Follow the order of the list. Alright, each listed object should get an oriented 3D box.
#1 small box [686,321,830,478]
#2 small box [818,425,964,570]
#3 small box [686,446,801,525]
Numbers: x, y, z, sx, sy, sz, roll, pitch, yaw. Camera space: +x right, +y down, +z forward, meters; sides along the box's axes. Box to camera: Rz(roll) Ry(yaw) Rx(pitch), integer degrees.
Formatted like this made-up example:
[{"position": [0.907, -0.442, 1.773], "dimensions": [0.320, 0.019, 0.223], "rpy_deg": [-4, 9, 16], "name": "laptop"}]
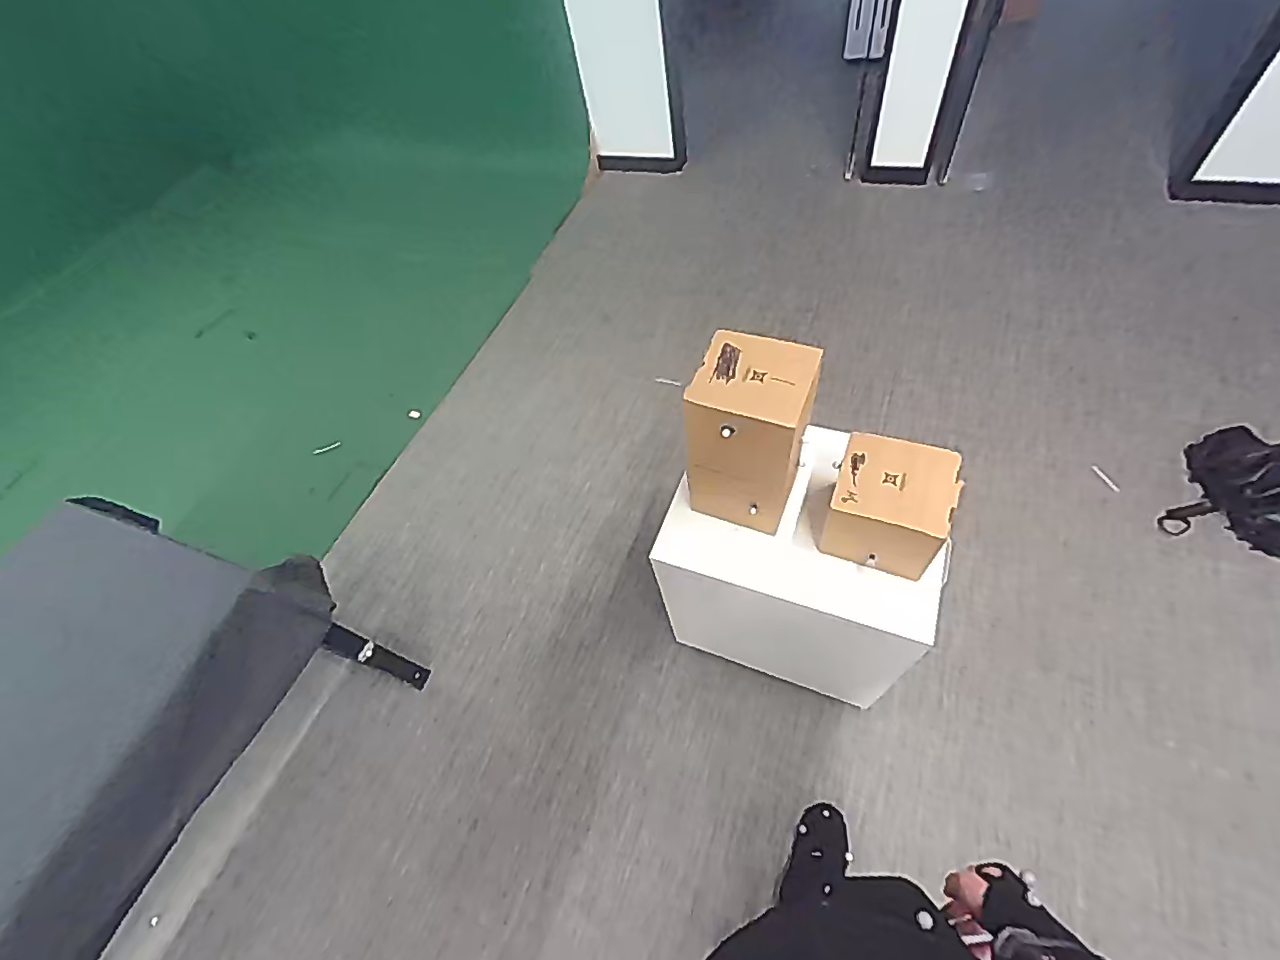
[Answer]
[{"position": [0.187, -0.127, 0.880], "dimensions": [0.179, 0.176, 0.168], "rpy_deg": [18, 62, 17], "name": "small box"}, {"position": [0.425, 0.037, 0.934], "dimensions": [0.179, 0.176, 0.168], "rpy_deg": [18, 62, 18], "name": "small box"}, {"position": [0.201, -0.036, 1.018], "dimensions": [0.179, 0.176, 0.168], "rpy_deg": [17, 61, 19], "name": "small box"}]
